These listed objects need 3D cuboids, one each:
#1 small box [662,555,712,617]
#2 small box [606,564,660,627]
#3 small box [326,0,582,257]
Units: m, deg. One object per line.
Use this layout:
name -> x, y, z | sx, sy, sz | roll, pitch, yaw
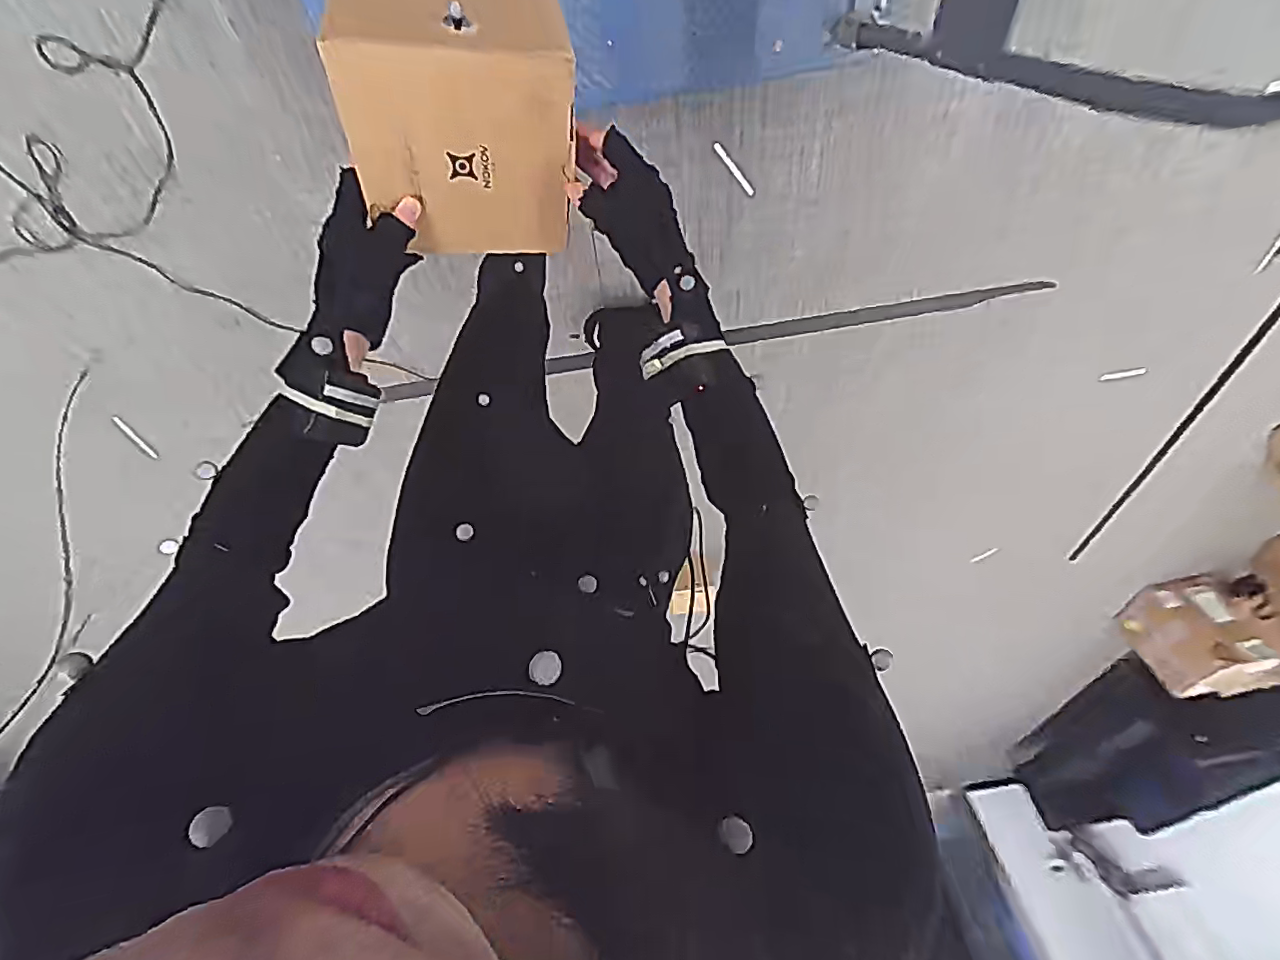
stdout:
small box -> 0.182, 0.422, 2.159 | 0.168, 0.176, 0.179 | -8, 137, -5
small box -> -0.030, 0.454, 2.146 | 0.179, 0.176, 0.168 | -13, 136, 3
small box -> -0.154, -0.325, 0.483 | 0.179, 0.176, 0.168 | -4, 150, -13
